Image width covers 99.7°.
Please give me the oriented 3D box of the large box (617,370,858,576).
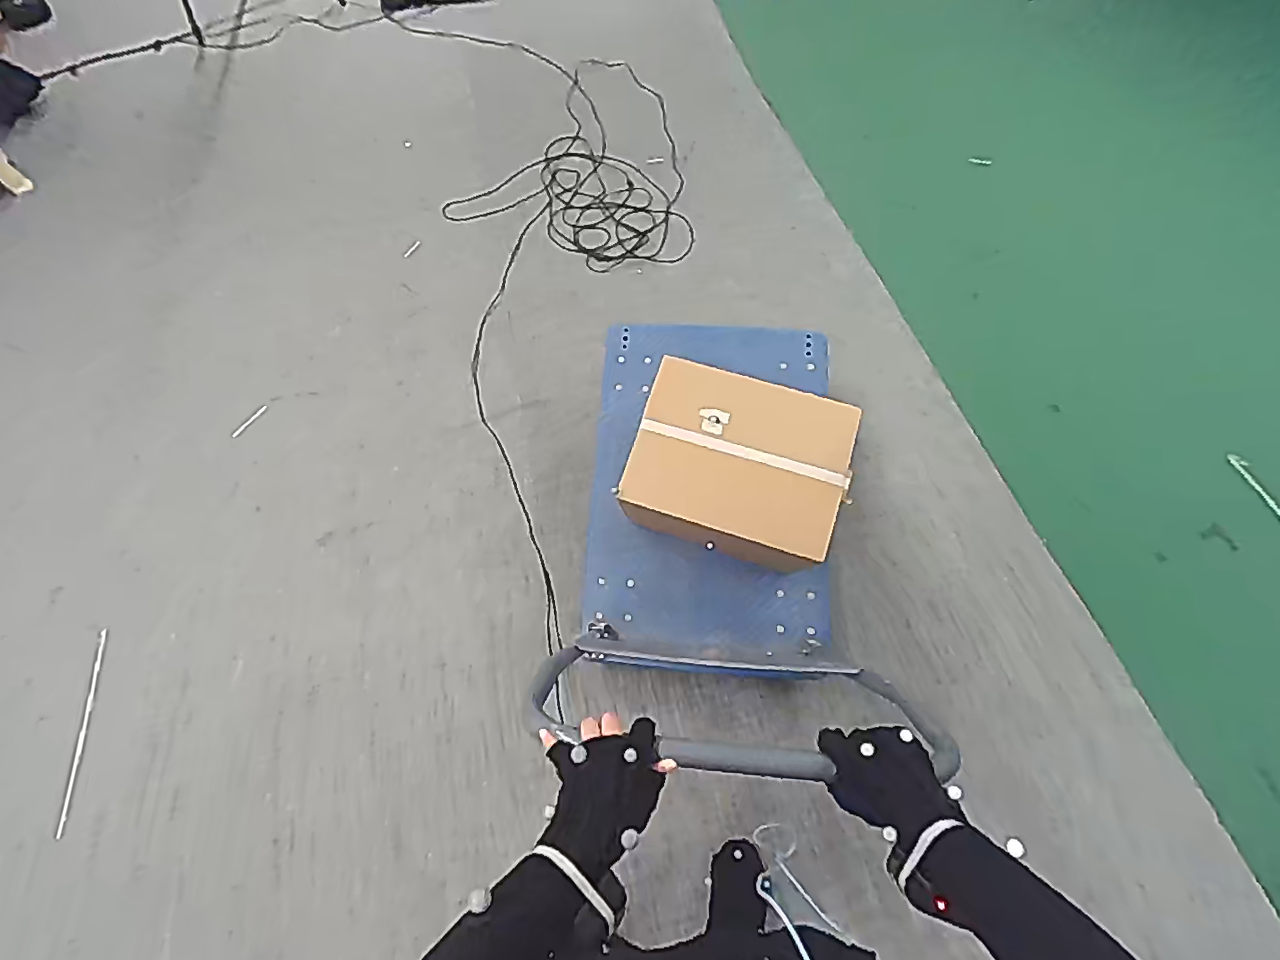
[{"bbox_3d":[0.203,0.002,1.183,0.408,0.320,0.320,17,78,9],"label":"large box"}]
